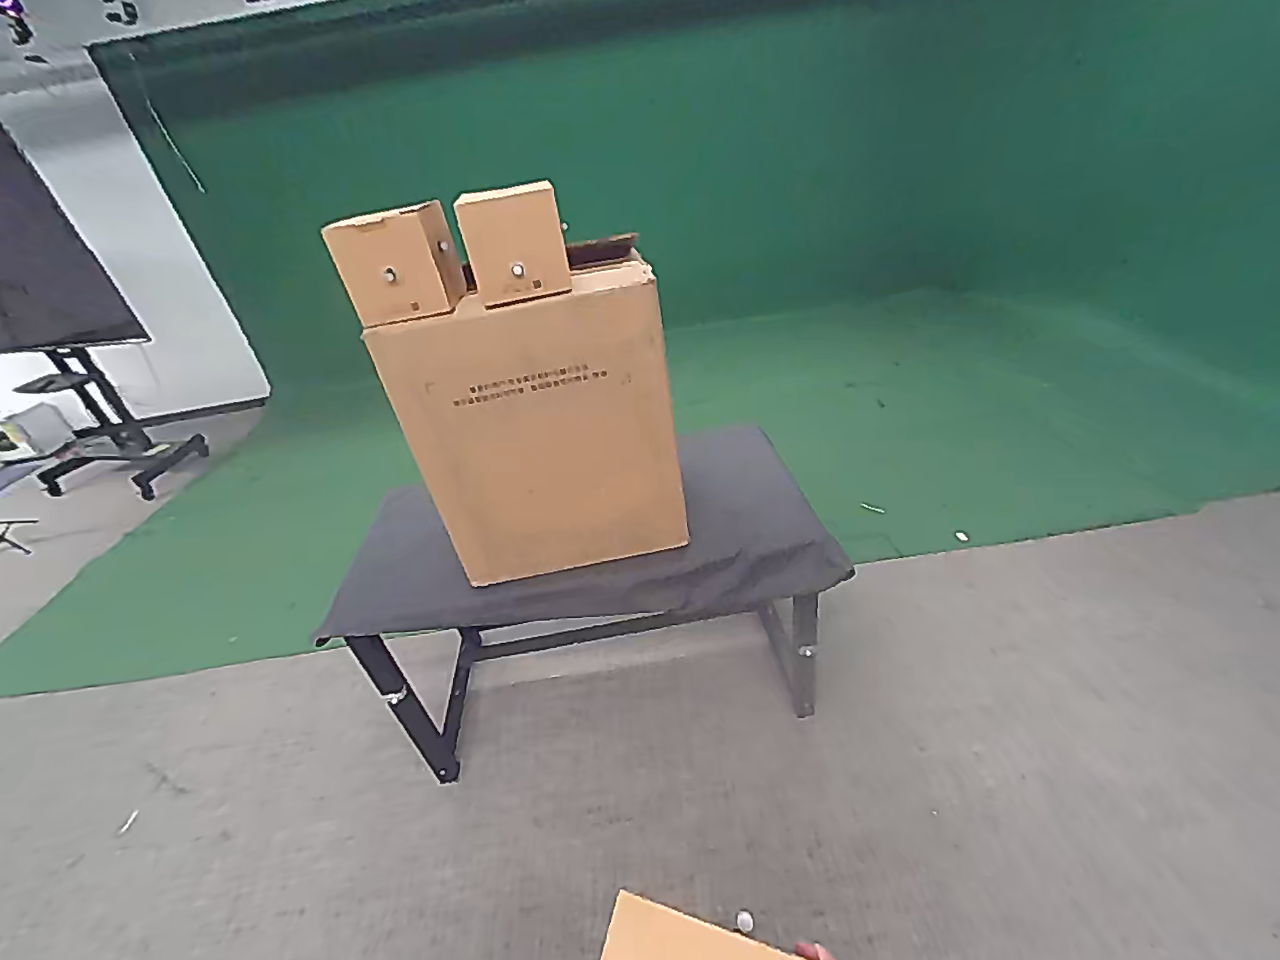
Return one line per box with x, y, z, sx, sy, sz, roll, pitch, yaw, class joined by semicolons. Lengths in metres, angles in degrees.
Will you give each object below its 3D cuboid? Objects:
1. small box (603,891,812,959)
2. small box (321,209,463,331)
0.050;0.456;0.418;0.168;0.176;0.179;7;50;17;small box
-0.444;-0.386;1.004;0.168;0.176;0.179;-11;33;0;small box
